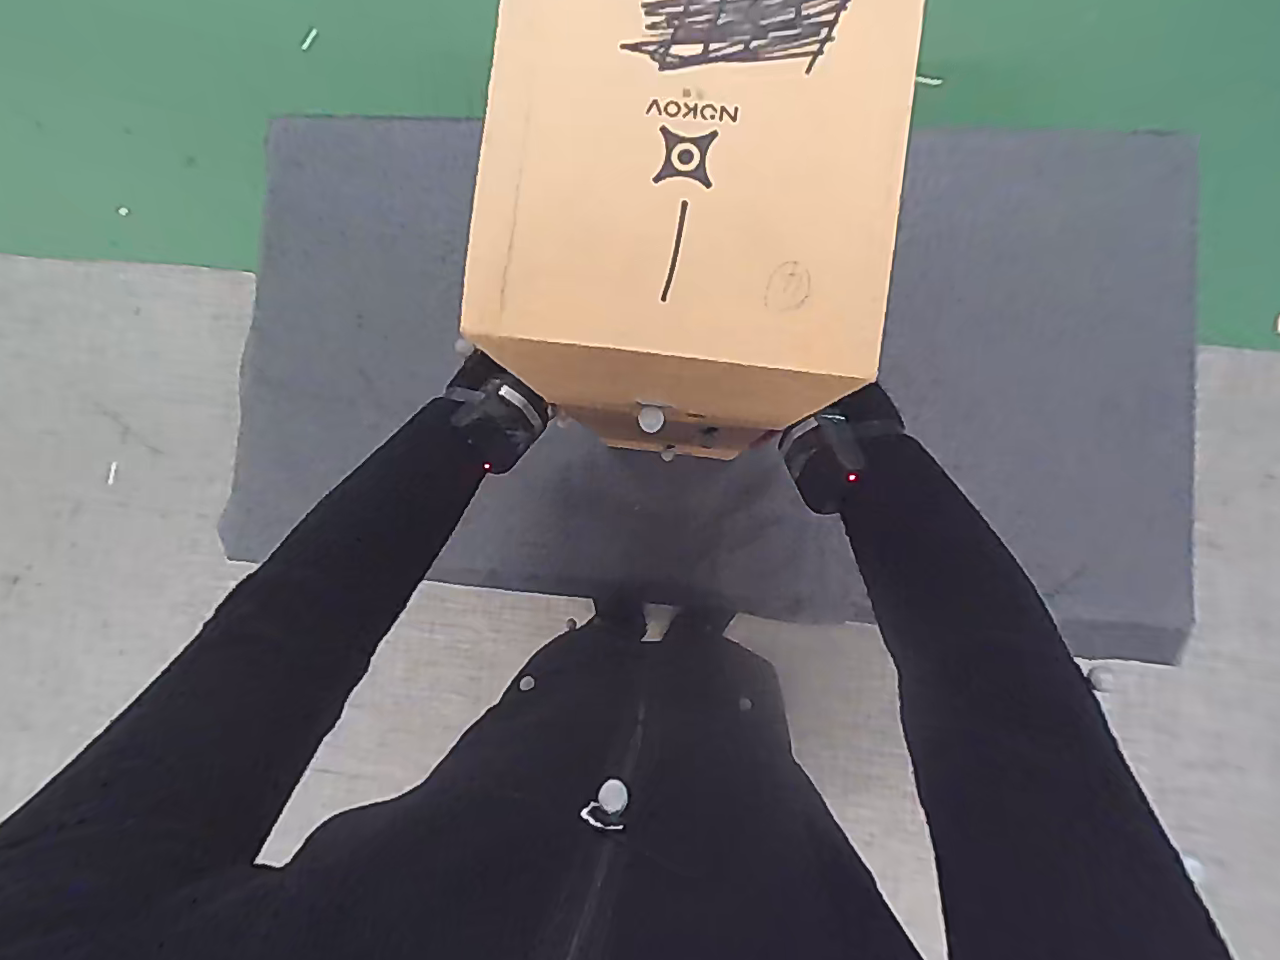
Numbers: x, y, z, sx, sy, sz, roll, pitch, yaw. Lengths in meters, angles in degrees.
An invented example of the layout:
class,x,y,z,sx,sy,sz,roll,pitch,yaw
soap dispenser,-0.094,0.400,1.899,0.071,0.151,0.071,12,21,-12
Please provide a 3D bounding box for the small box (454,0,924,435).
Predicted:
class,x,y,z,sx,sy,sz,roll,pitch,yaw
small box,0.022,-0.127,0.288,0.168,0.176,0.179,7,90,4

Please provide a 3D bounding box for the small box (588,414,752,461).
class,x,y,z,sx,sy,sz,roll,pitch,yaw
small box,0.045,-0.119,0.614,0.168,0.176,0.179,6,88,4
